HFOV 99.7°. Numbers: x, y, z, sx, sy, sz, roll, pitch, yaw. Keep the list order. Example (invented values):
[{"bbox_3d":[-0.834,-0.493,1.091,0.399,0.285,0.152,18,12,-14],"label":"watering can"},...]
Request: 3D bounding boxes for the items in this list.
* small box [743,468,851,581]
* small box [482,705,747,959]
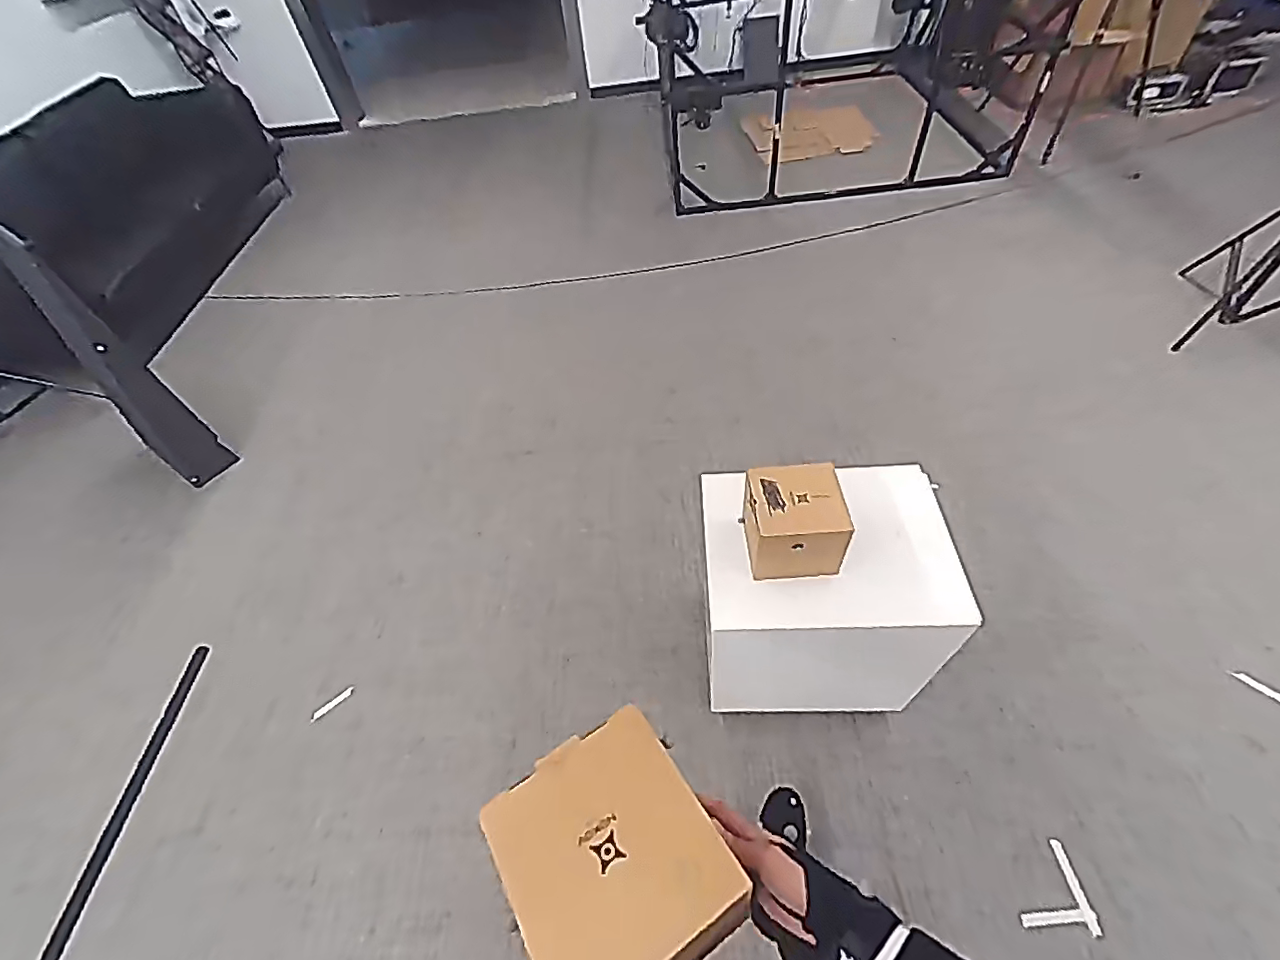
[{"bbox_3d":[0.308,0.095,1.104,0.179,0.176,0.168,-4,51,2],"label":"small box"},{"bbox_3d":[-0.016,0.355,0.499,0.168,0.176,0.179,-29,46,-18],"label":"small box"}]
